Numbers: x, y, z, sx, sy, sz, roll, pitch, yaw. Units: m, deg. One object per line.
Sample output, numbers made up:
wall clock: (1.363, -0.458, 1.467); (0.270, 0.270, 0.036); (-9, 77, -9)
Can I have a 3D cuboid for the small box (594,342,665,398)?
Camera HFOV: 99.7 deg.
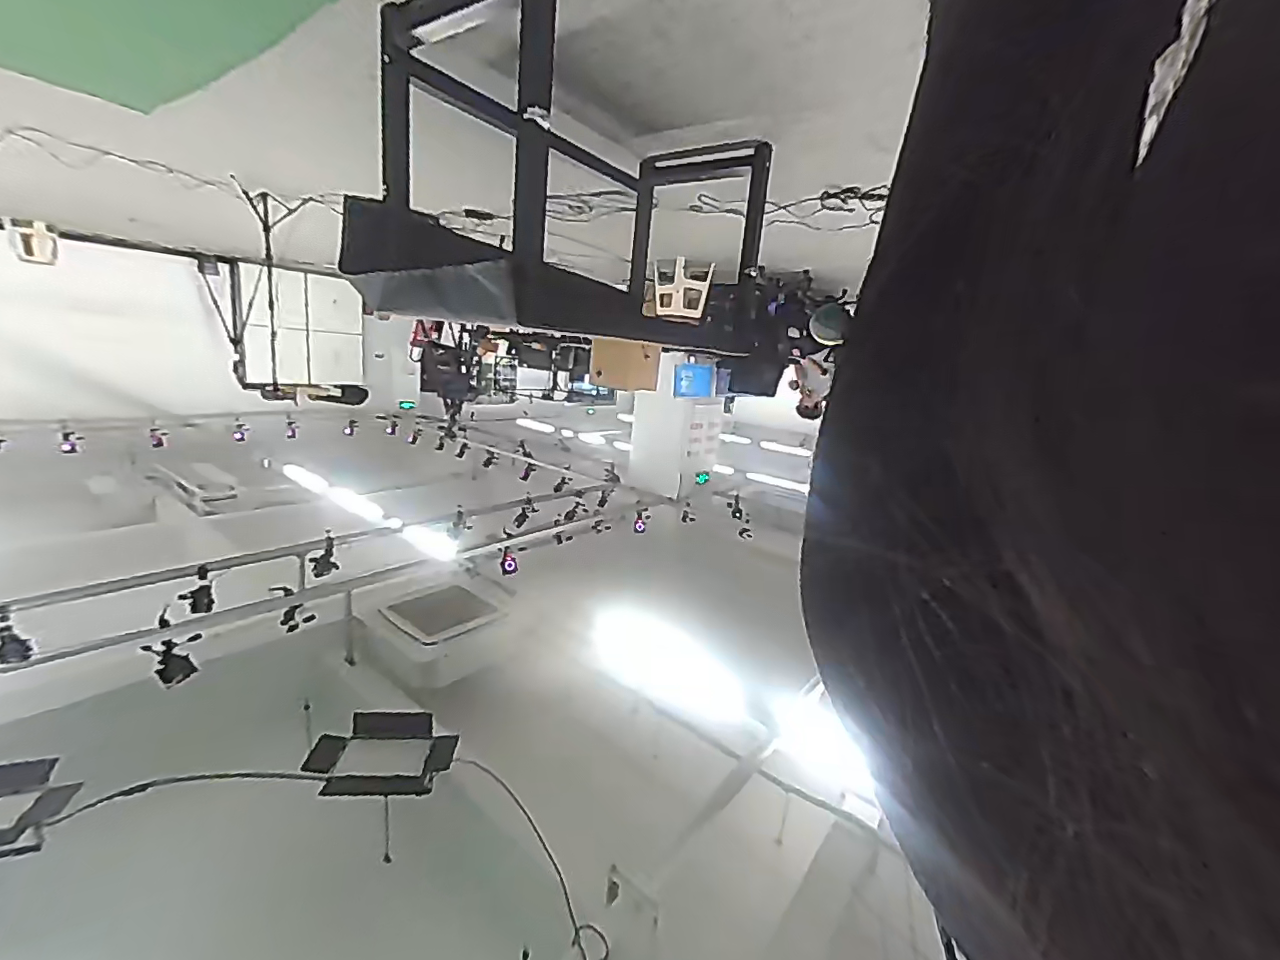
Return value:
small box: (-0.032, -0.376, 1.834); (0.179, 0.176, 0.168); (16, -163, 36)
